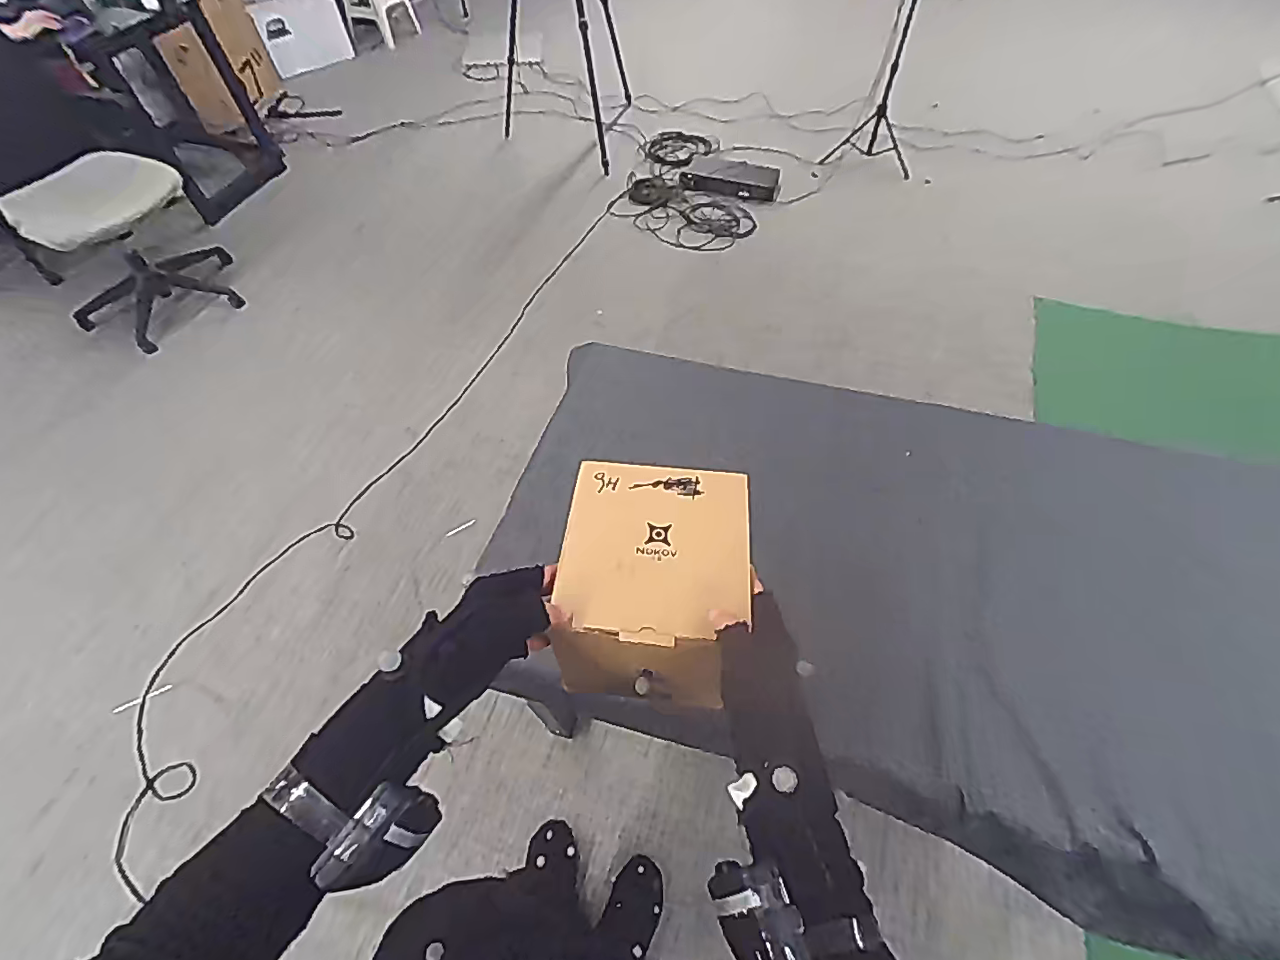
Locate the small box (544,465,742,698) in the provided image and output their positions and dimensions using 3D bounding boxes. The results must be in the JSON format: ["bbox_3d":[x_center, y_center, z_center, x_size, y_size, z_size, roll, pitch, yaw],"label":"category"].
[{"bbox_3d":[0.011,0.108,0.549,0.168,0.176,0.179,4,53,4],"label":"small box"}]
